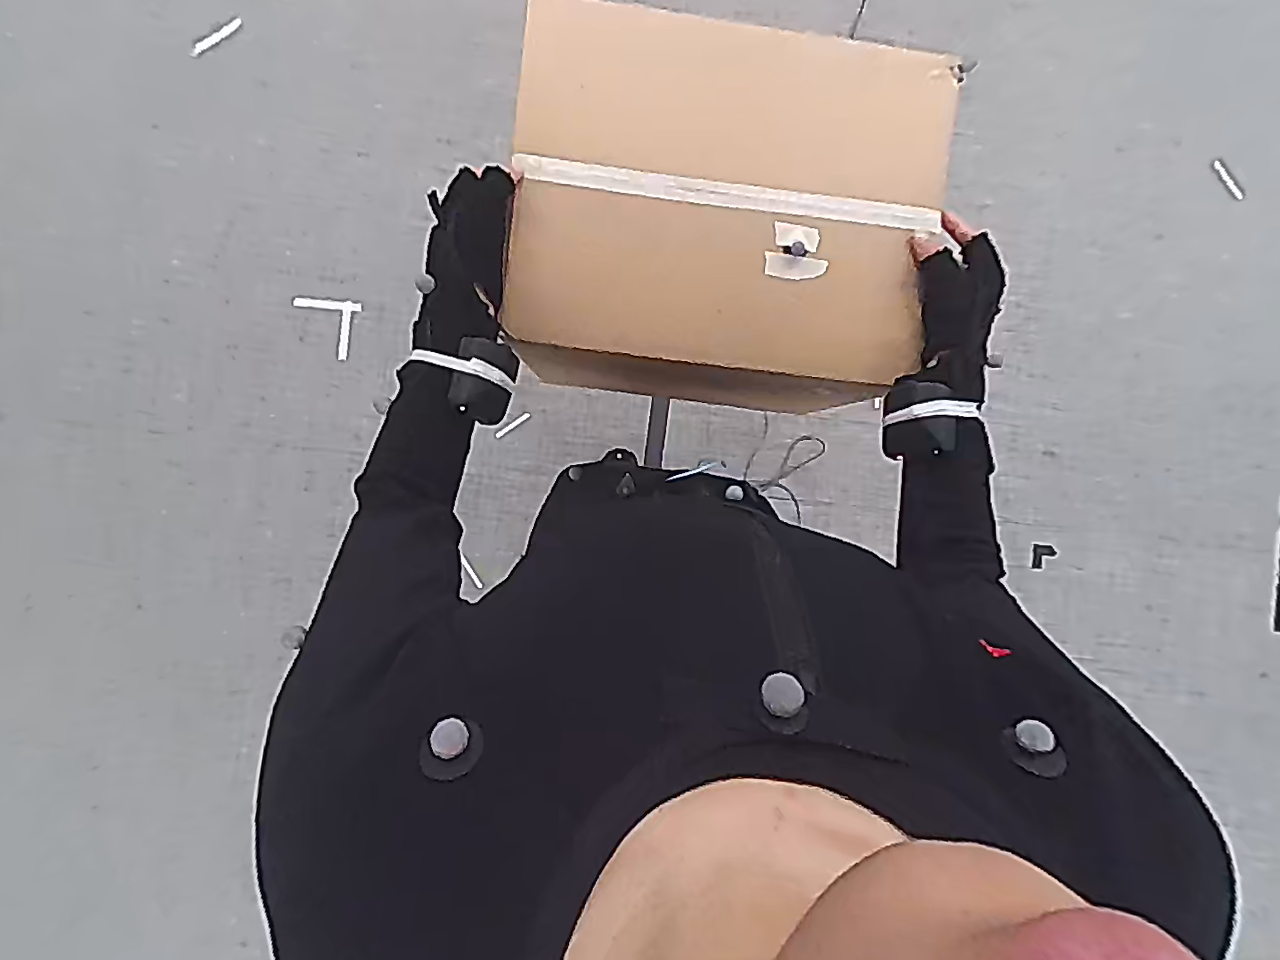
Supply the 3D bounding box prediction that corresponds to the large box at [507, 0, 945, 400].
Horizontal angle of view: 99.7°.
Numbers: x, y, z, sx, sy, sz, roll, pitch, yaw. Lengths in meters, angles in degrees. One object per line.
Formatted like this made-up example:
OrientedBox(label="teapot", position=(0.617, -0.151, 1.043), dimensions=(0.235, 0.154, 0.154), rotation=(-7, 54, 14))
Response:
OrientedBox(label="large box", position=(0.075, -0.285, 0.667), dimensions=(0.408, 0.320, 0.320), rotation=(7, 94, -3))
